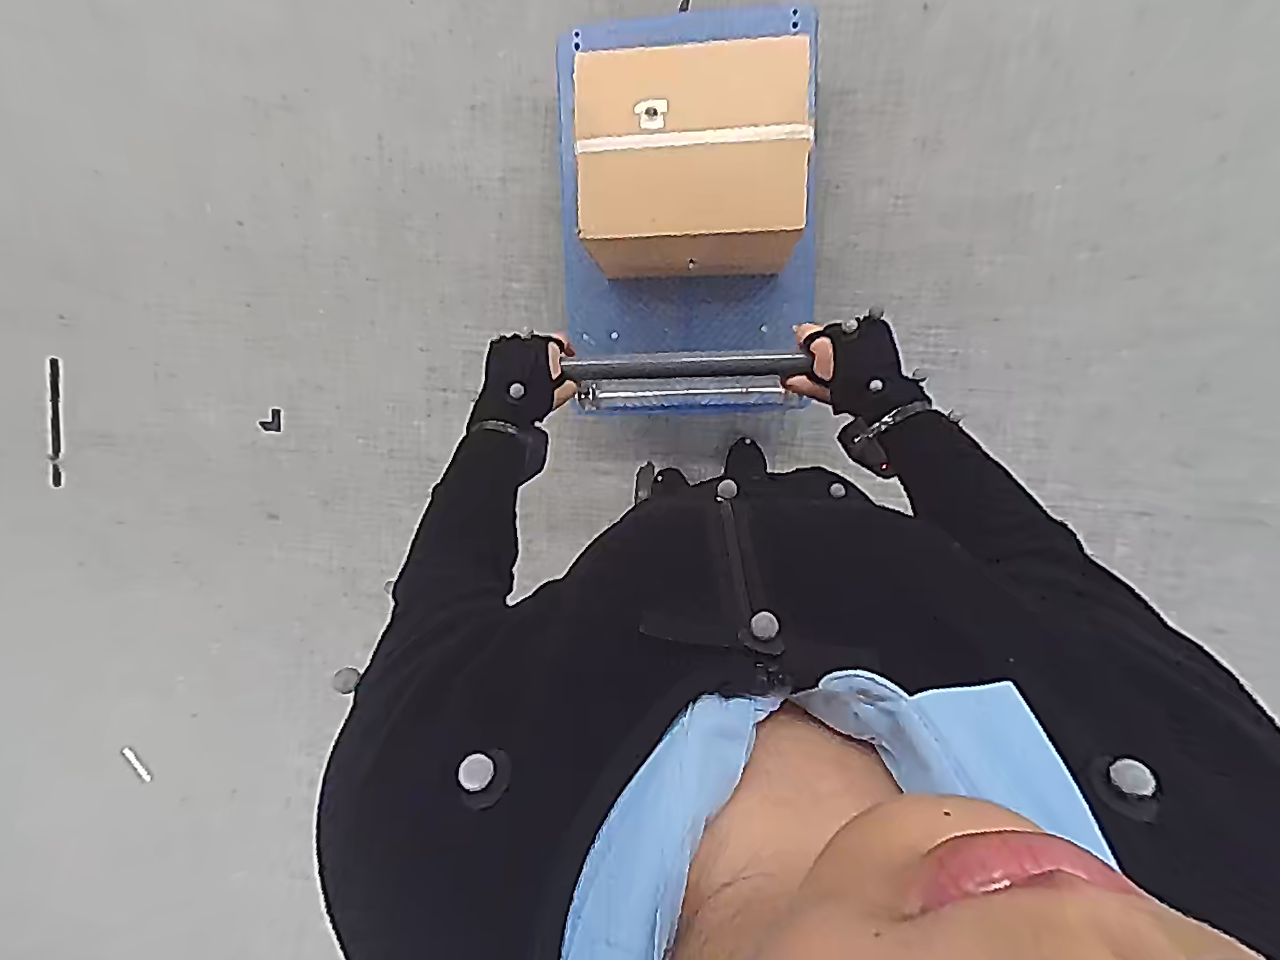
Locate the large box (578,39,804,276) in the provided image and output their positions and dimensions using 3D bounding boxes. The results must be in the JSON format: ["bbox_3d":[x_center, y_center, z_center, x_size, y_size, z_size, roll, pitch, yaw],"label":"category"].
[{"bbox_3d":[0.108,-0.618,1.109,0.408,0.320,0.320,0,97,7],"label":"large box"}]
